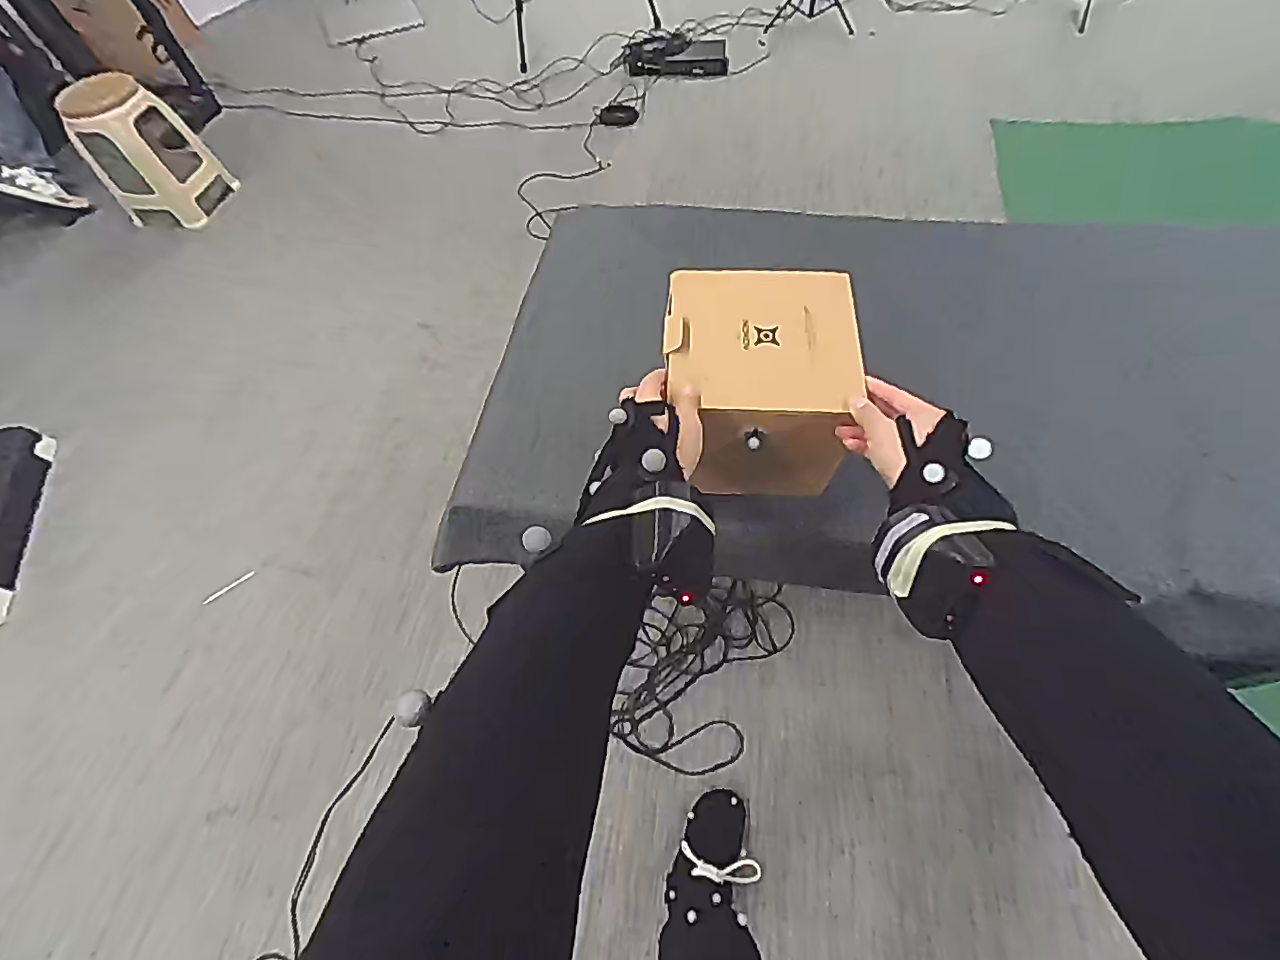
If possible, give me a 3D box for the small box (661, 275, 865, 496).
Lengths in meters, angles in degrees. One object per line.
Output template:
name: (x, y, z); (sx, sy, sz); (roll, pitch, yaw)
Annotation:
small box: (0.113, -0.092, 0.570); (0.179, 0.176, 0.168); (2, 63, 2)
